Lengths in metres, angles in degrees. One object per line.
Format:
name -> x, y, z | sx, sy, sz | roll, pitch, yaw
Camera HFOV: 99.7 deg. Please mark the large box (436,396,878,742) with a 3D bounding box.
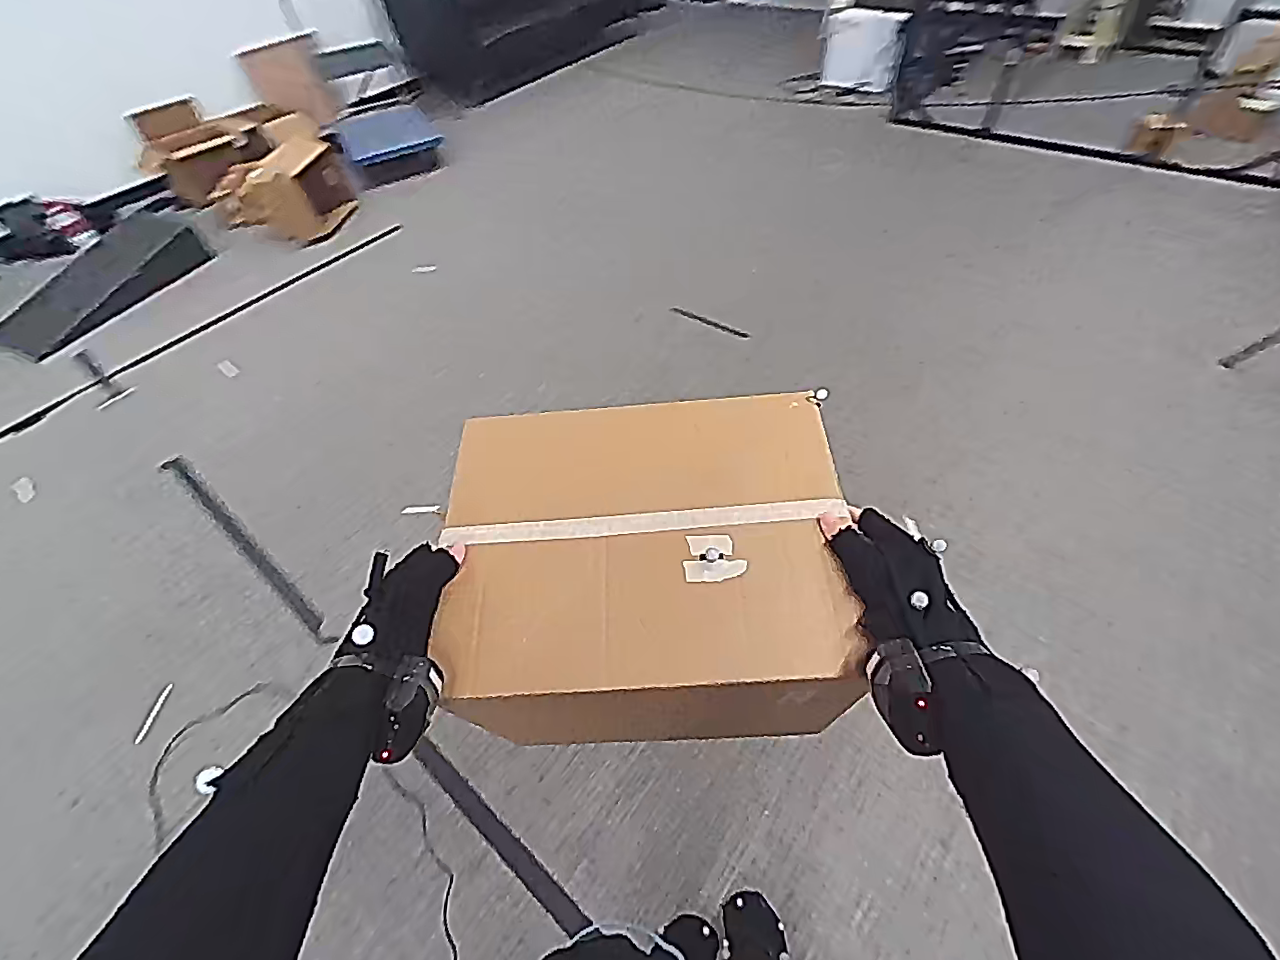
large box -> 0.013, 0.127, 0.681 | 0.408, 0.320, 0.320 | -5, 57, 2
